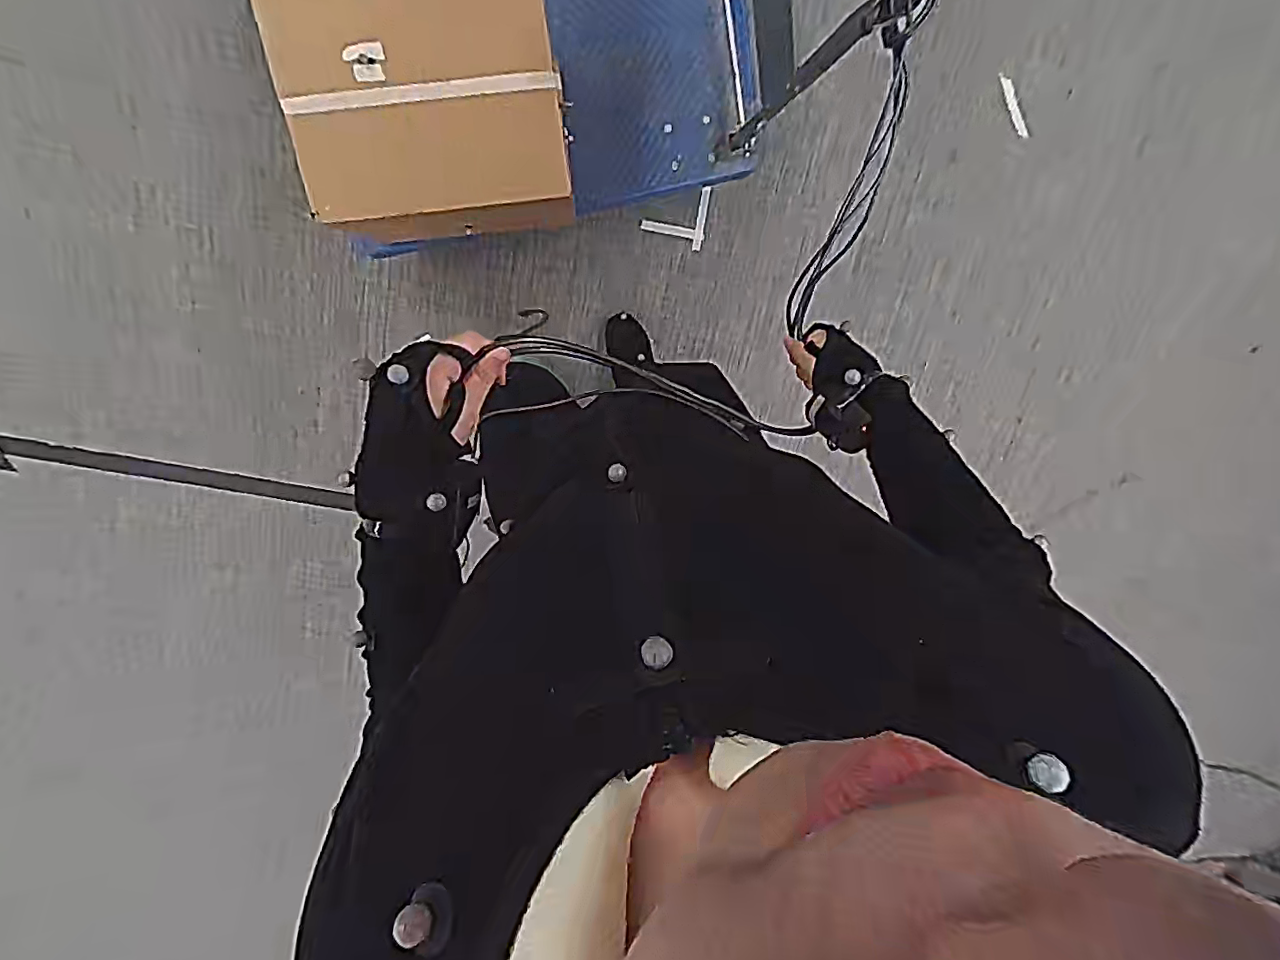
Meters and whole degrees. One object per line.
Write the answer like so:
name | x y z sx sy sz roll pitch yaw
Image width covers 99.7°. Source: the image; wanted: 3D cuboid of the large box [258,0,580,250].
large box | -0.330 -0.603 0.946 0.408 0.320 0.320 -8 107 -2
